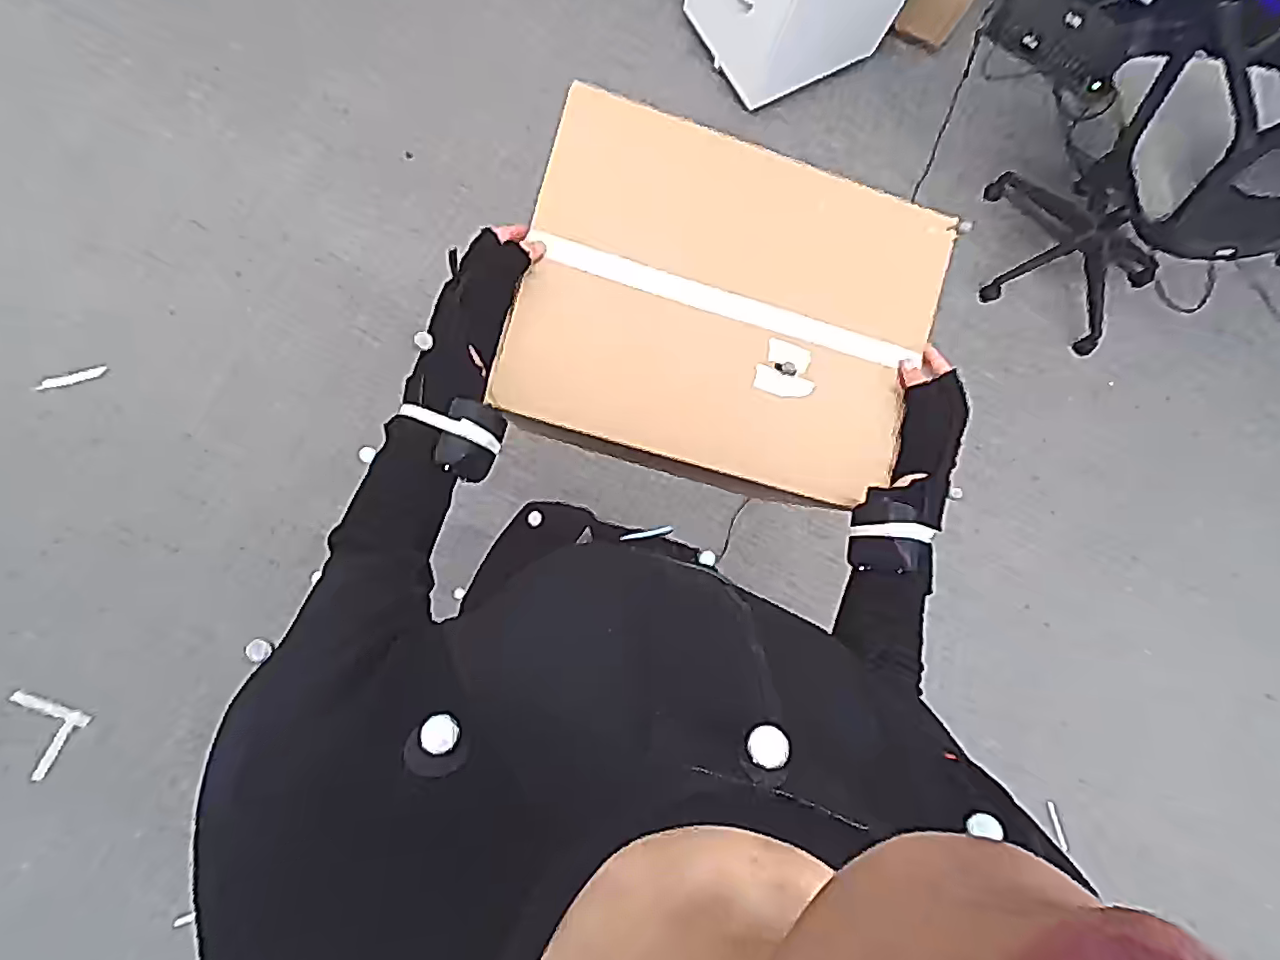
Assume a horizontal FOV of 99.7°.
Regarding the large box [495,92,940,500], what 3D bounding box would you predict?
[{"bbox_3d":[0.066,-0.177,0.683,0.408,0.320,0.320,16,90,-8],"label":"large box"}]
